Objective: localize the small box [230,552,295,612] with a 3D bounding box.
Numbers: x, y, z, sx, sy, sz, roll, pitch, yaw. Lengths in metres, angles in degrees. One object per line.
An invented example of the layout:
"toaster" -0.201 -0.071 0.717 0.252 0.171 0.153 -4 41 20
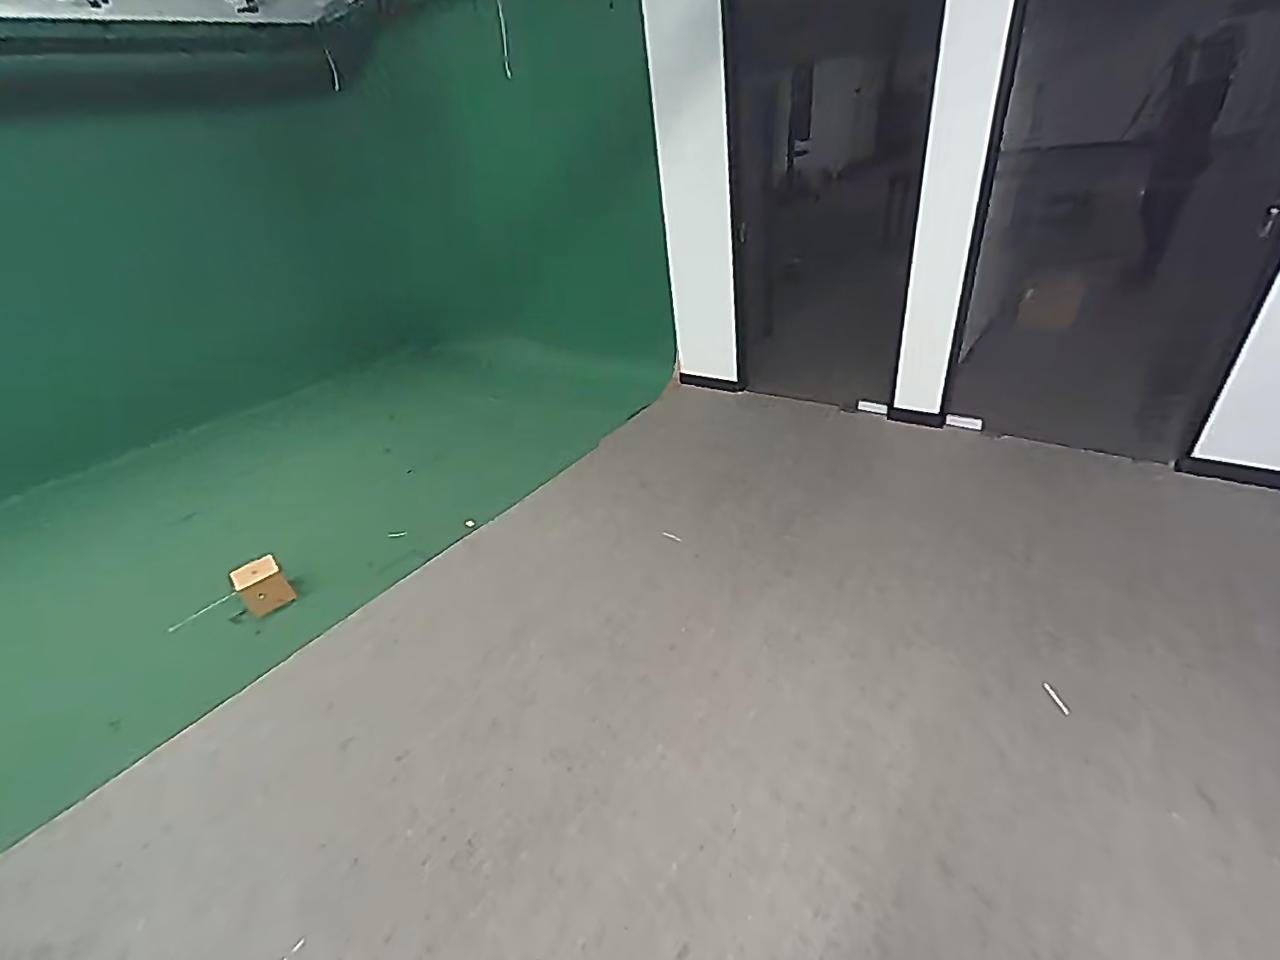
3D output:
"small box" -1.655 0.453 2.373 0.168 0.176 0.179 -32 39 -32
